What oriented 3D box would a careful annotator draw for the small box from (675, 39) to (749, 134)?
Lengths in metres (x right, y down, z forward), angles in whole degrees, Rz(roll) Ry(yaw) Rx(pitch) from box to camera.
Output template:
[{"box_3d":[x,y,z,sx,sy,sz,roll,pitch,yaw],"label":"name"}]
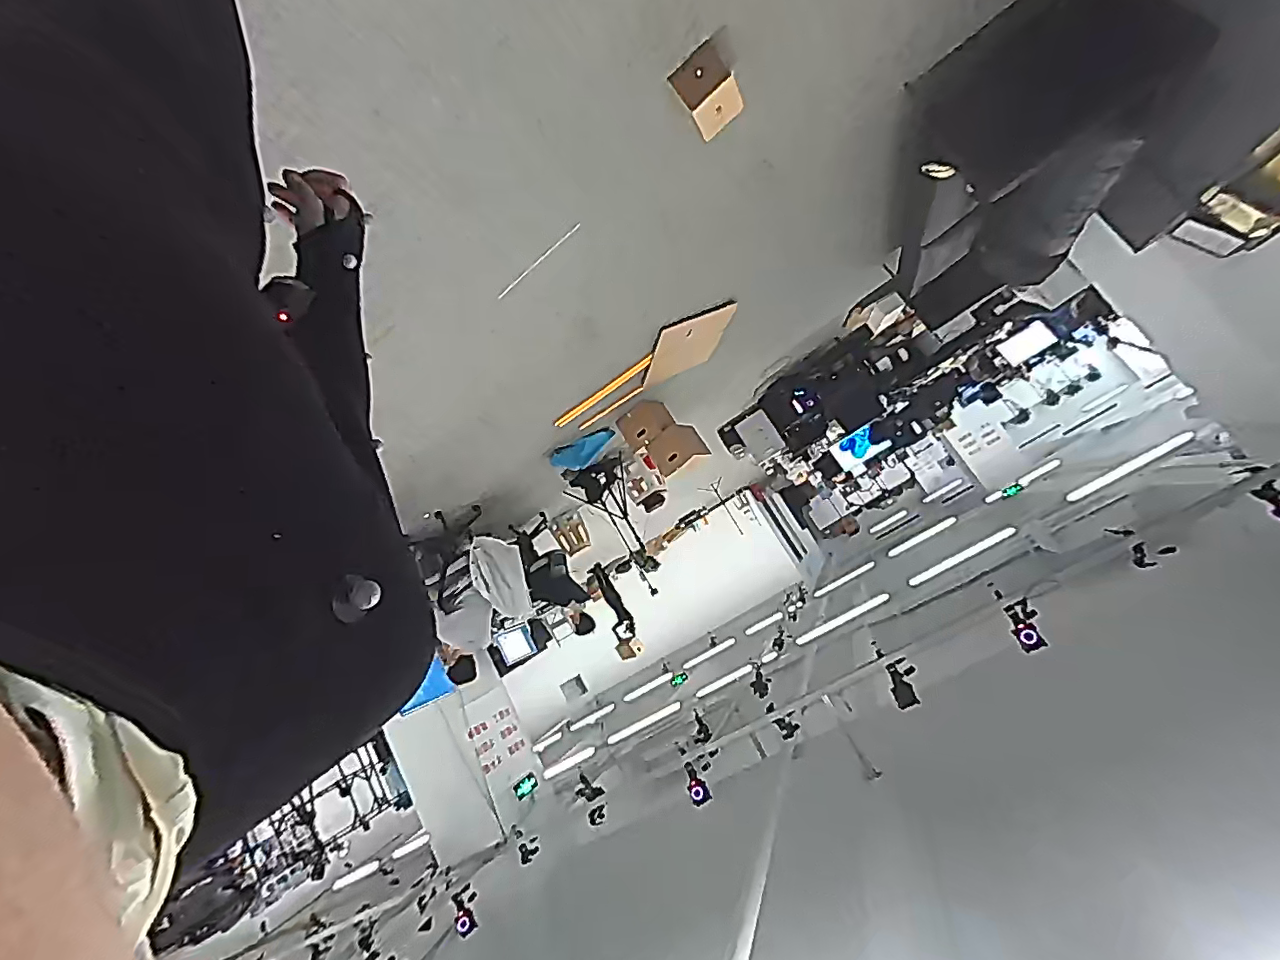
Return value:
[{"box_3d":[0.243,-1.345,1.843,0.168,0.176,0.179,-34,167,20],"label":"small box"}]
